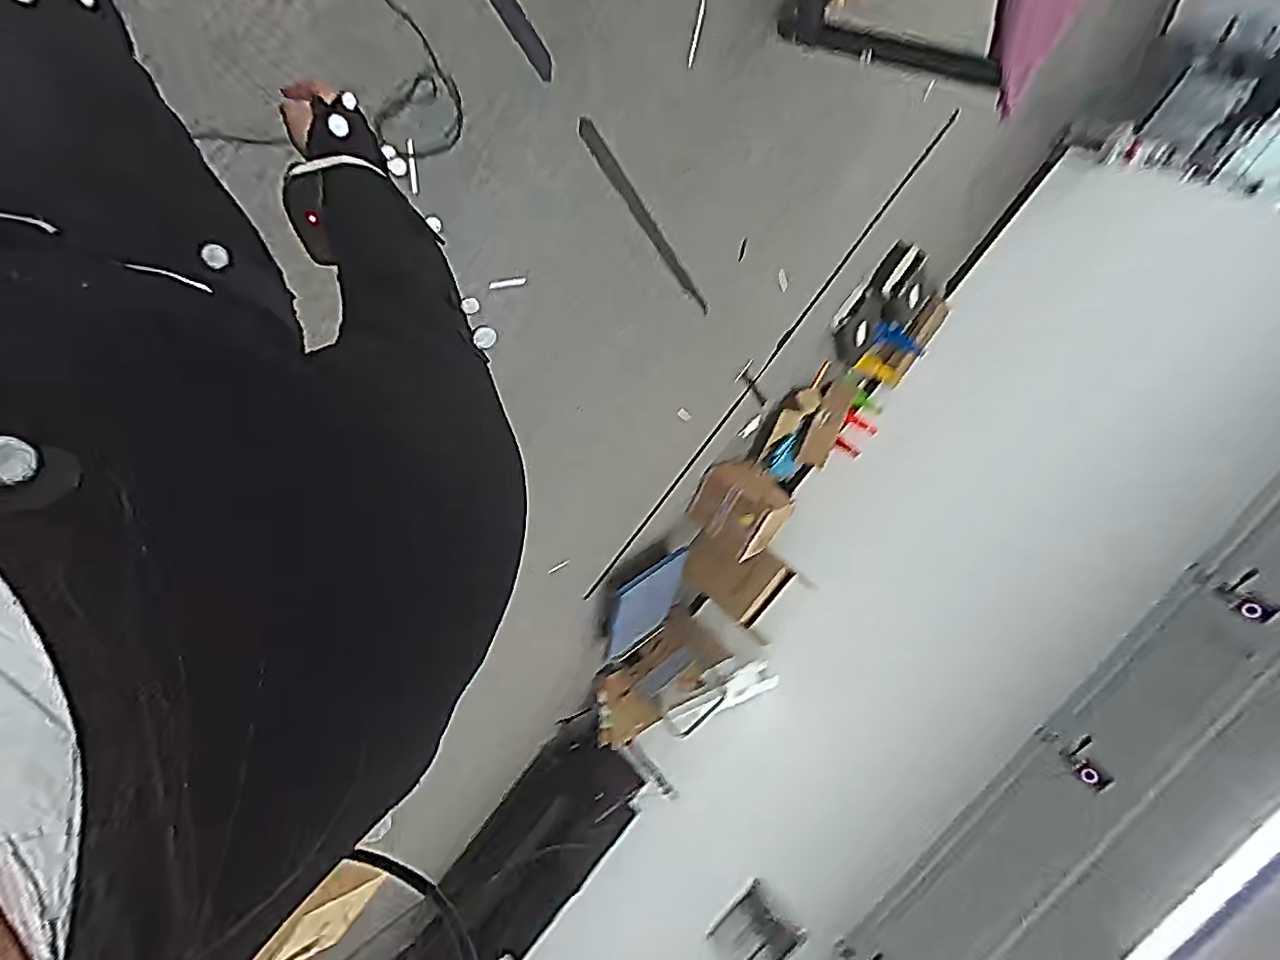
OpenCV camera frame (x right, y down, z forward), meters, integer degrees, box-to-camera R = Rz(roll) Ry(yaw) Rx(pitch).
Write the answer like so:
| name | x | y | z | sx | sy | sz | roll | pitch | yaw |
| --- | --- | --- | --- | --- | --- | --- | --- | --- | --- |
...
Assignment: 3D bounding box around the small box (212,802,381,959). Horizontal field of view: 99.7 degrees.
| name | x | y | z | sx | sy | sz | roll | pitch | yaw |
| --- | --- | --- | --- | --- | --- | --- | --- | --- | --- |
| small box | -0.609 | 0.719 | 0.954 | 0.179 | 0.176 | 0.168 | -53 | 154 | 3 |
